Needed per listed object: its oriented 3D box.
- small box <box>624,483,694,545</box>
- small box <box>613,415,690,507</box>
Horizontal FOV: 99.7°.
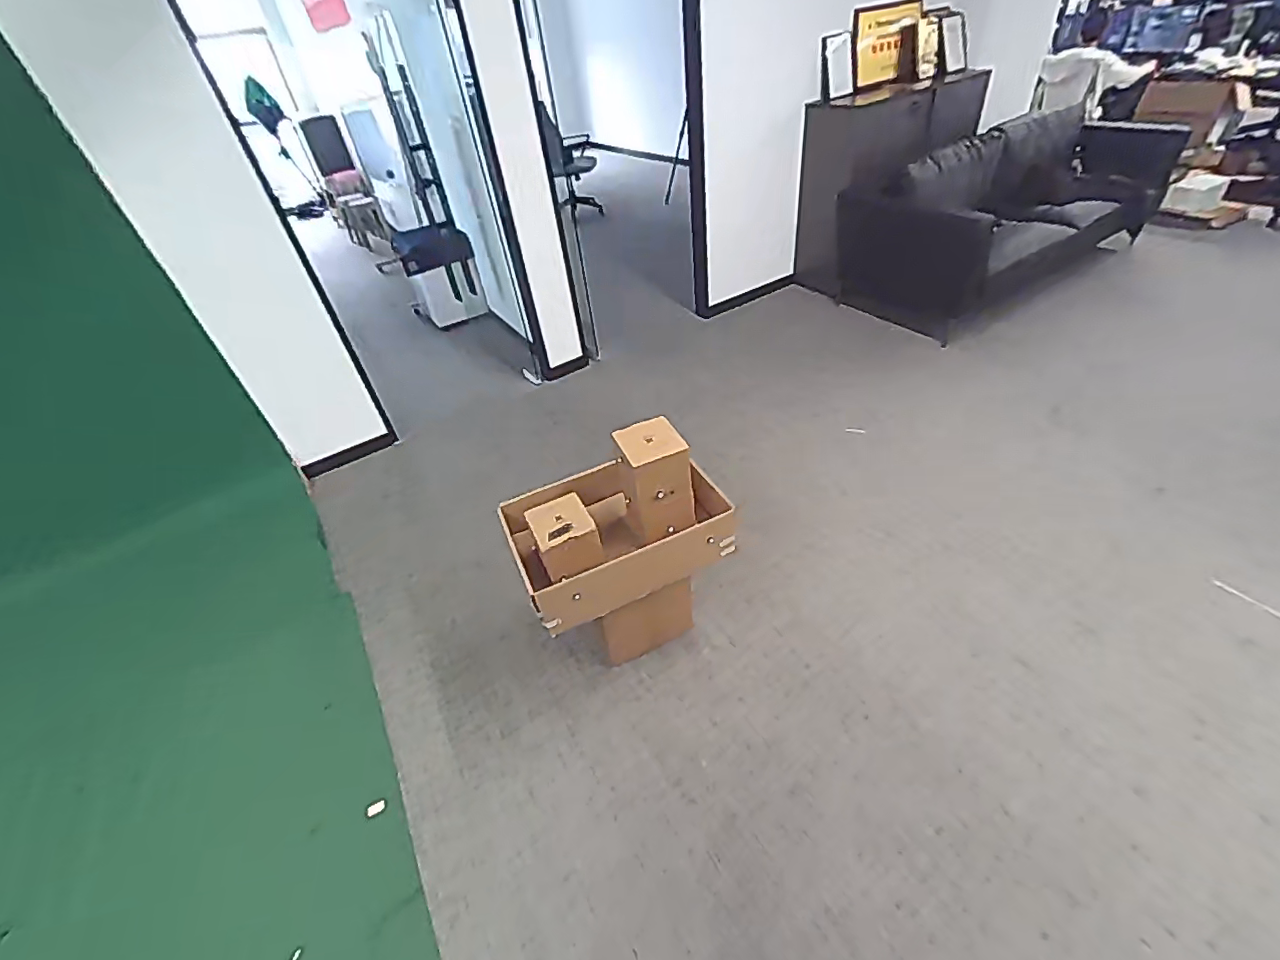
[{"bbox_3d":[0.054,0.064,1.642,0.168,0.176,0.179,-19,43,-12],"label":"small box"},{"bbox_3d":[0.033,-0.055,1.533,0.168,0.176,0.179,-19,43,-12],"label":"small box"}]
